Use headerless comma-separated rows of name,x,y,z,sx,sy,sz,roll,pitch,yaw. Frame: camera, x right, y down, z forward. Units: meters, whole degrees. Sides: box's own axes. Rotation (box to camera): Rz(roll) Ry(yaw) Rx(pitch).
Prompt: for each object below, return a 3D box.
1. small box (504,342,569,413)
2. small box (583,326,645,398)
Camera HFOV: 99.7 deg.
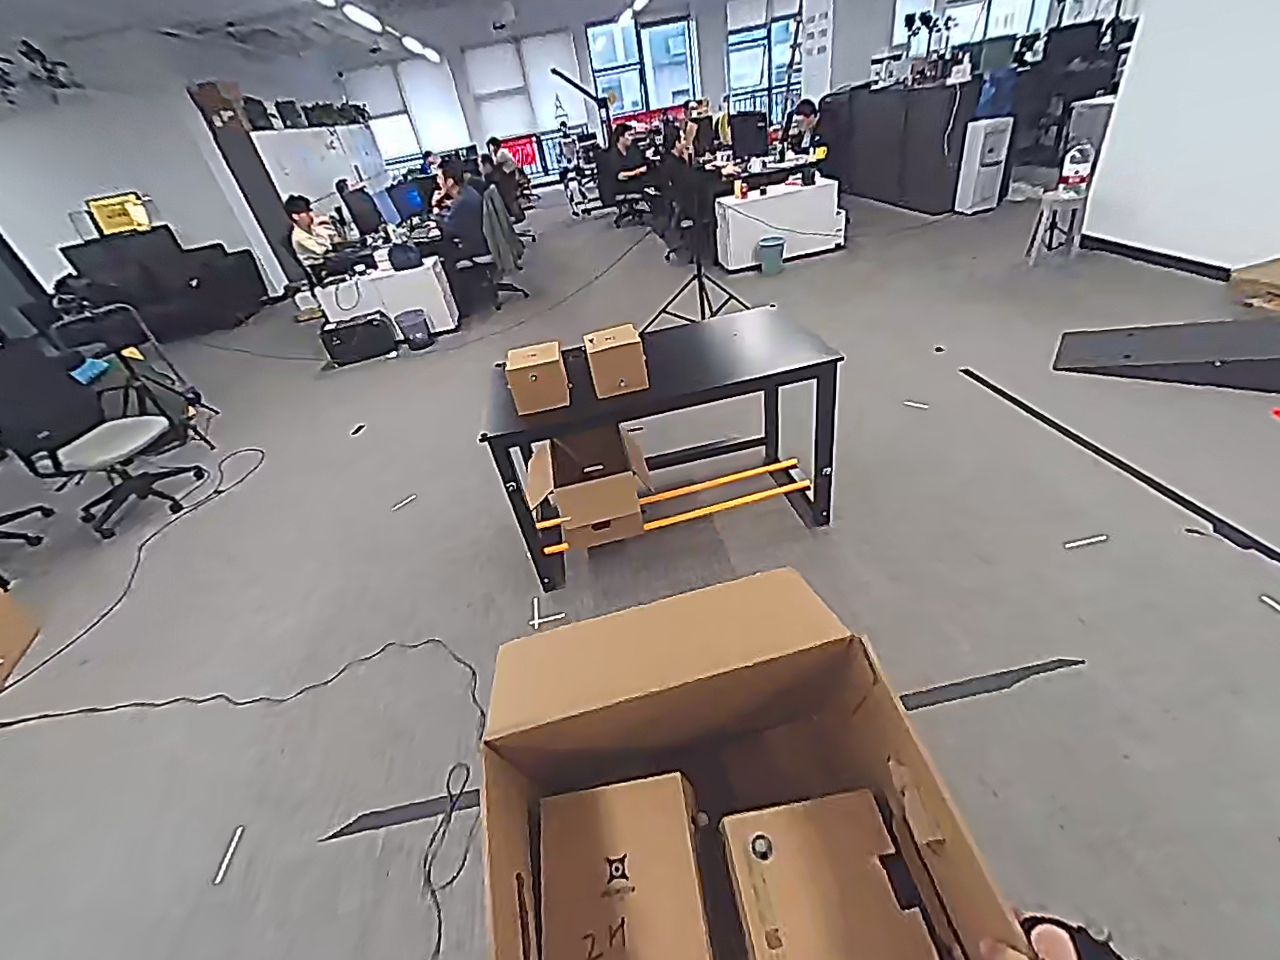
small box,-0.342,-0.339,1.808,0.179,0.176,0.168,-12,36,-3
small box,-0.085,-0.396,1.817,0.179,0.176,0.168,-13,35,-4
